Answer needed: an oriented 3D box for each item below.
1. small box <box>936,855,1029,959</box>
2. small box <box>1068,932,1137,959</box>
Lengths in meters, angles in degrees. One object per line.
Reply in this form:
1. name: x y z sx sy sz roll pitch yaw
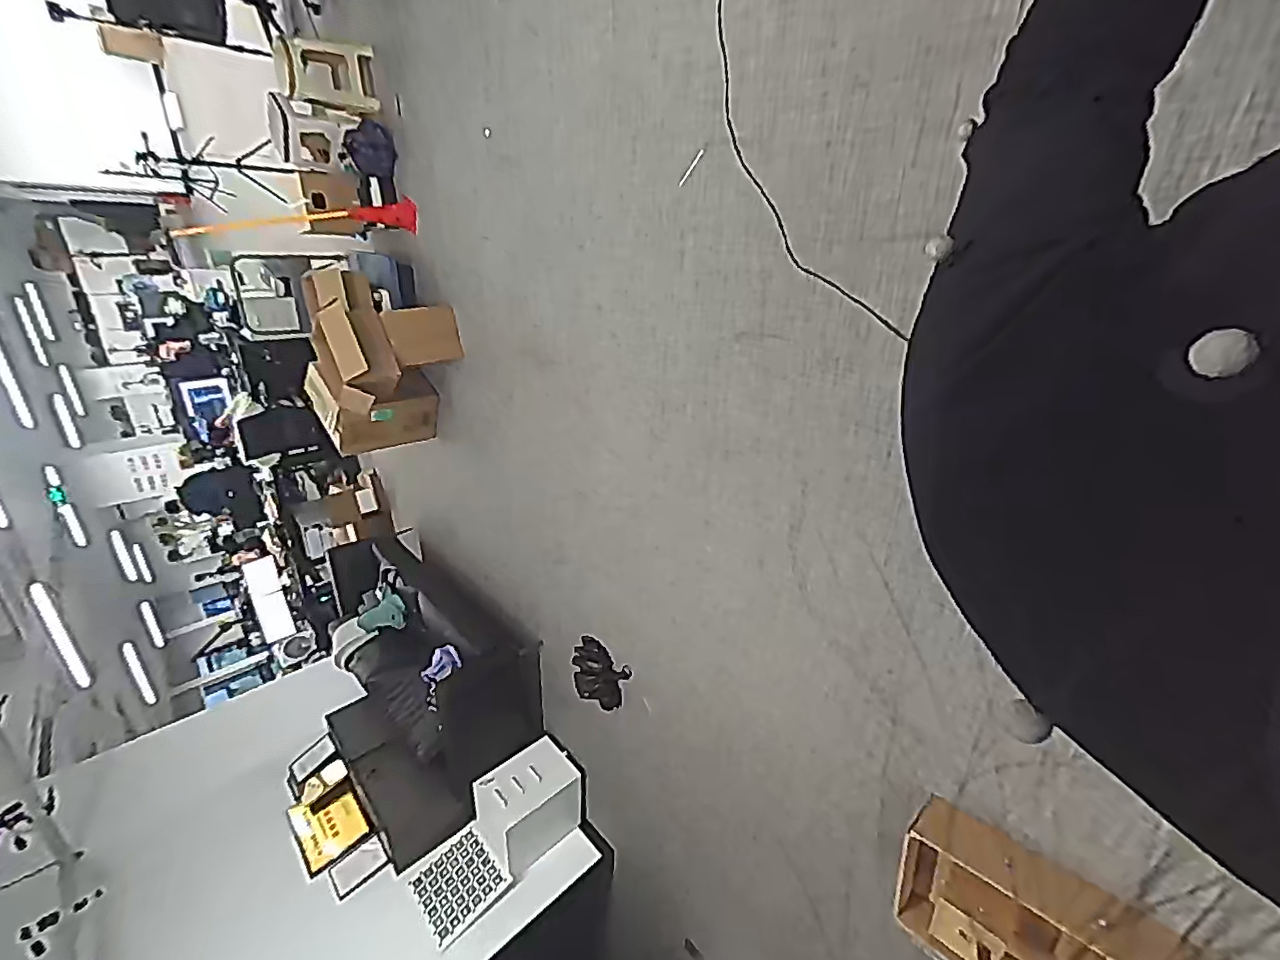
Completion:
1. small box: 0.987 1.239 1.555 0.179 0.176 0.168 19 119 44
2. small box: 1.179 1.296 1.356 0.179 0.176 0.168 14 117 47
